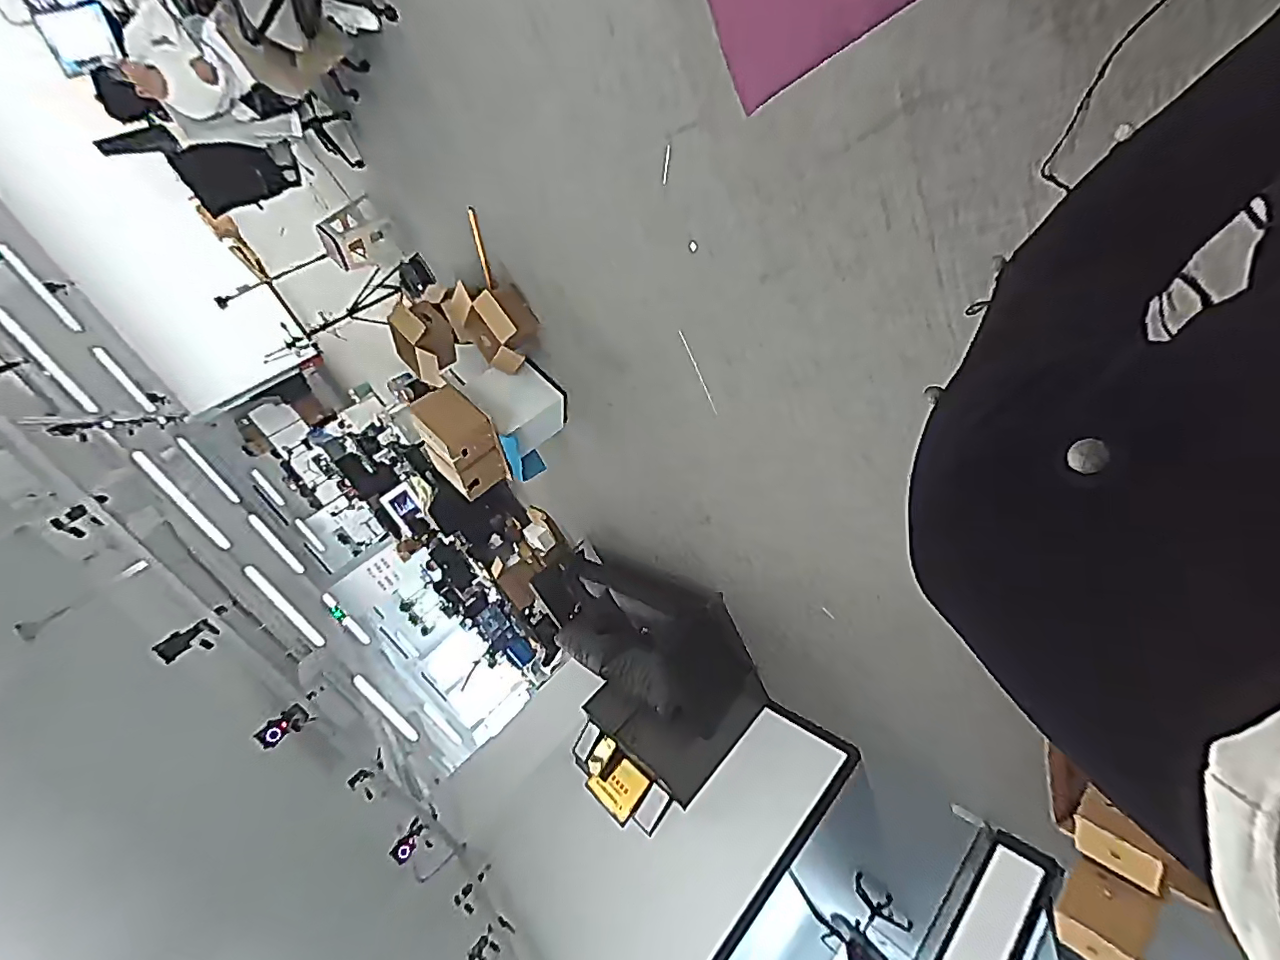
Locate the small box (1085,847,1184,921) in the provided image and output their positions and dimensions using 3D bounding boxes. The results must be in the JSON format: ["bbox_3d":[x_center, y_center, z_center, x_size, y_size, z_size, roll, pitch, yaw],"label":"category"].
[{"bbox_3d":[1.353,1.059,1.482,0.168,0.176,0.179,15,136,53],"label":"small box"}]

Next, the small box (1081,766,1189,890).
[{"bbox_3d":[1.256,0.874,1.375,0.168,0.176,0.179,18,142,51],"label":"small box"}]

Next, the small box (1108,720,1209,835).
[{"bbox_3d":[1.374,0.781,1.438,0.168,0.176,0.179,16,140,52],"label":"small box"}]

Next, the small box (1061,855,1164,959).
[{"bbox_3d":[1.229,1.139,1.406,0.168,0.176,0.179,12,133,53],"label":"small box"}]
